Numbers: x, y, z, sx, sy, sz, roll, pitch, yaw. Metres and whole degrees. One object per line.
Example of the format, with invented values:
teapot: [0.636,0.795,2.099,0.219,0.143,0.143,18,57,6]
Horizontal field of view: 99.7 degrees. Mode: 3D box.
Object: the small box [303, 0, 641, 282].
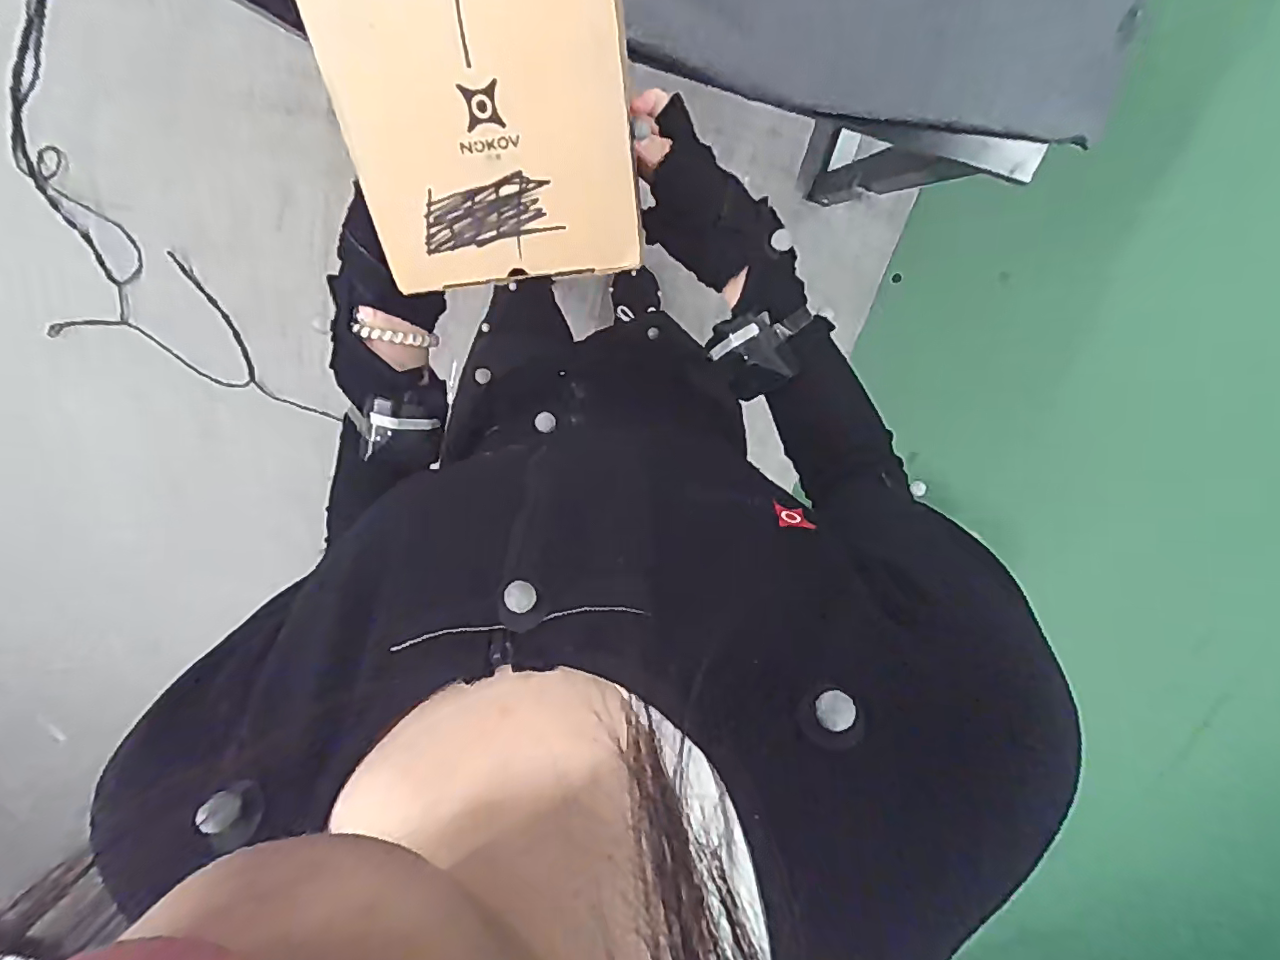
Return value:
small box: [-0.087,-0.252,0.373,0.168,0.176,0.179,-5,123,3]
